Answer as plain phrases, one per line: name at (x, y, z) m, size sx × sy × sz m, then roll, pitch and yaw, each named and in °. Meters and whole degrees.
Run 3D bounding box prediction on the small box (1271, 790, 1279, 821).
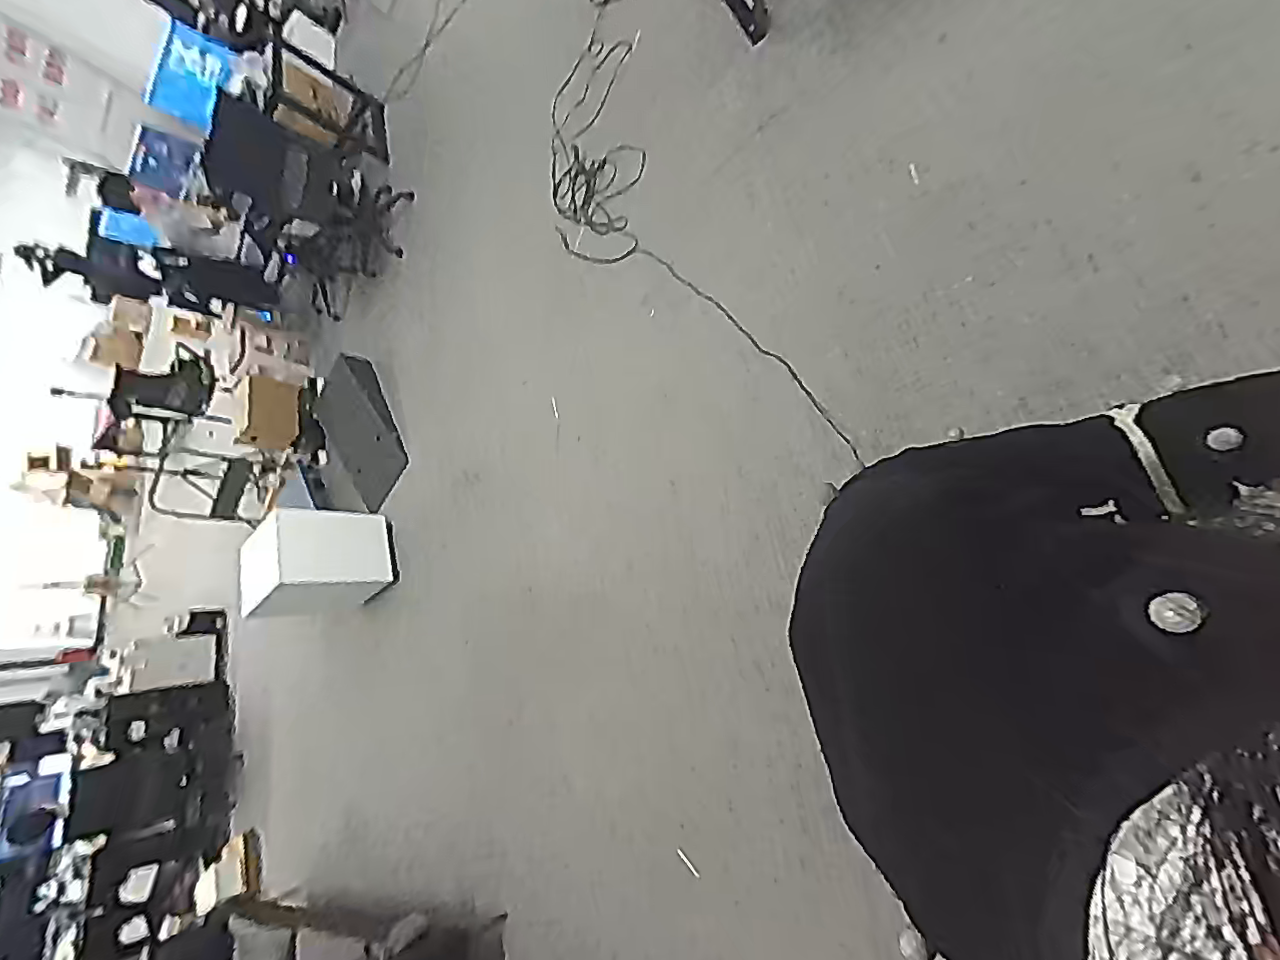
small box at (1.166, 0.616, 0.853) m, size 0.168 × 0.176 × 0.179 m, roll -19°, pitch 70°, yaw 36°
